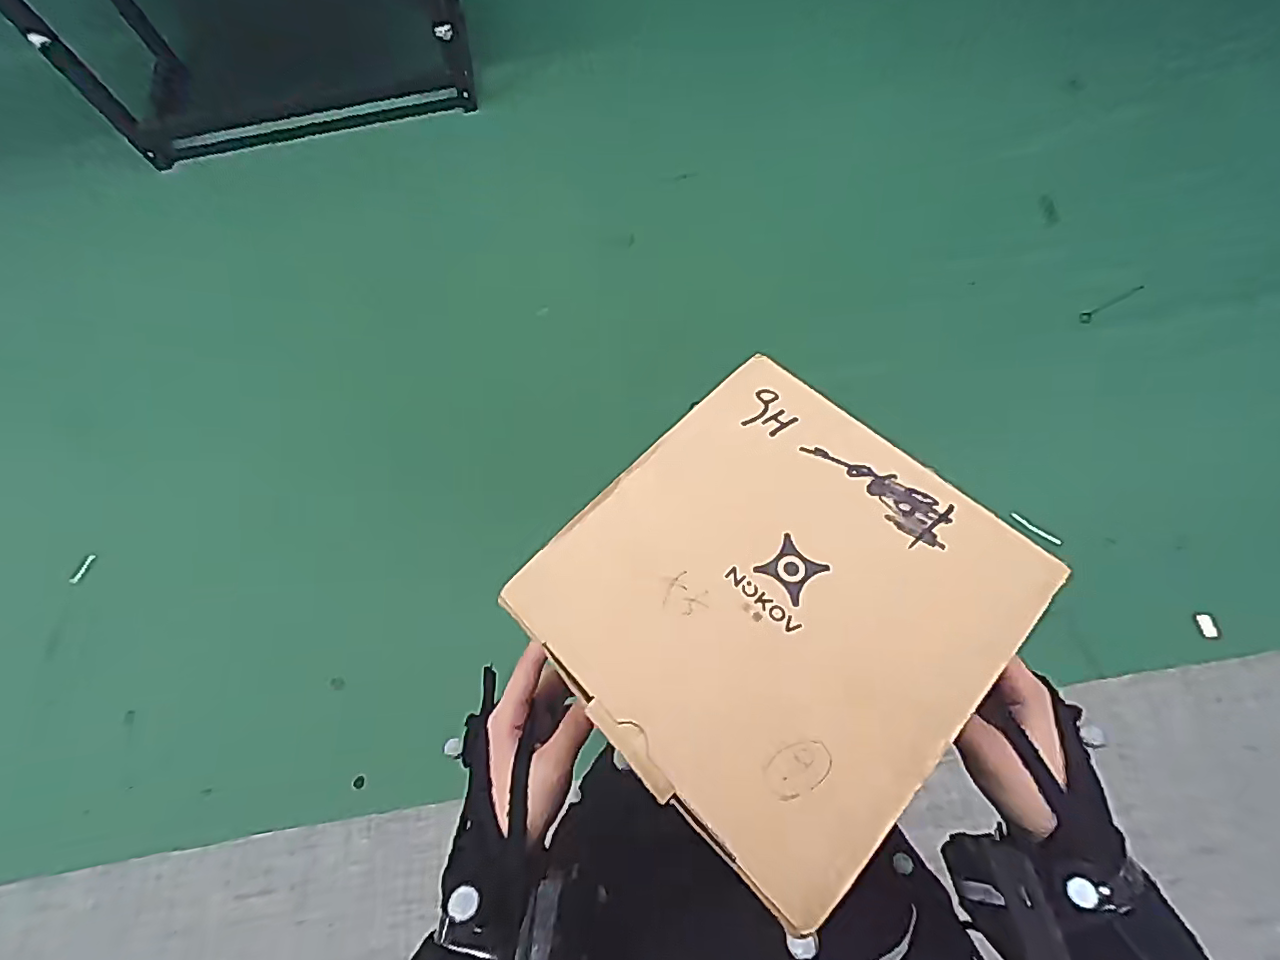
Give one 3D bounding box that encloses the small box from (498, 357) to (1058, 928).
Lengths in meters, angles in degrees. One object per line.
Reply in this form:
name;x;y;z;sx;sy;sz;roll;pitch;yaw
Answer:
small box;0.061;0.077;0.298;0.179;0.176;0.168;-43;69;-14
